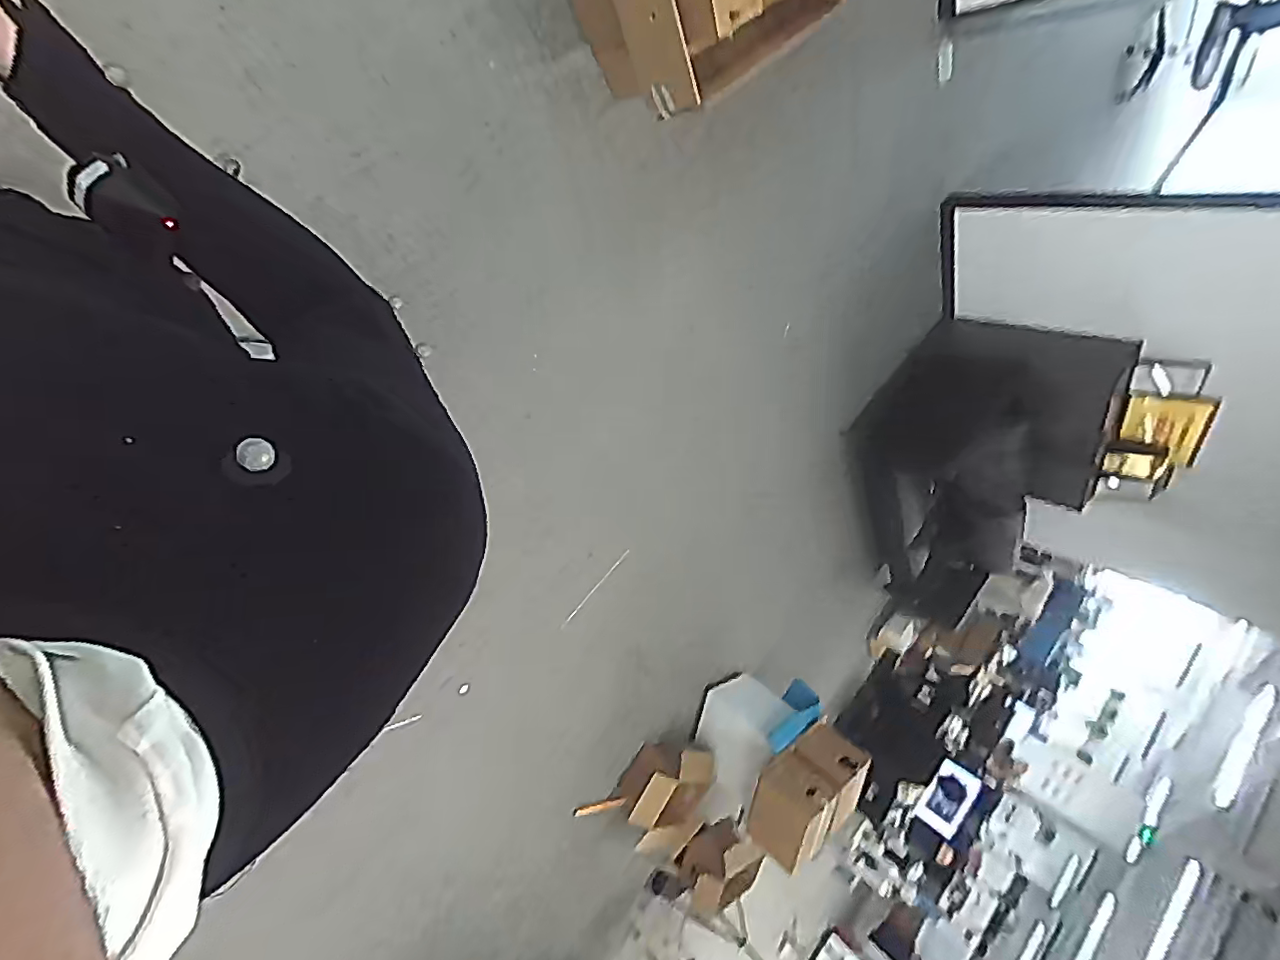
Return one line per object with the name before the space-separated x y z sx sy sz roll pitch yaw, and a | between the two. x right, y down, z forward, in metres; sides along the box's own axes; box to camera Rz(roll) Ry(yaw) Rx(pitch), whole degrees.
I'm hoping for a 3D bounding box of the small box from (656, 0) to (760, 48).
small box | 0.140 -1.117 1.213 0.168 0.176 0.179 -45 135 -19
